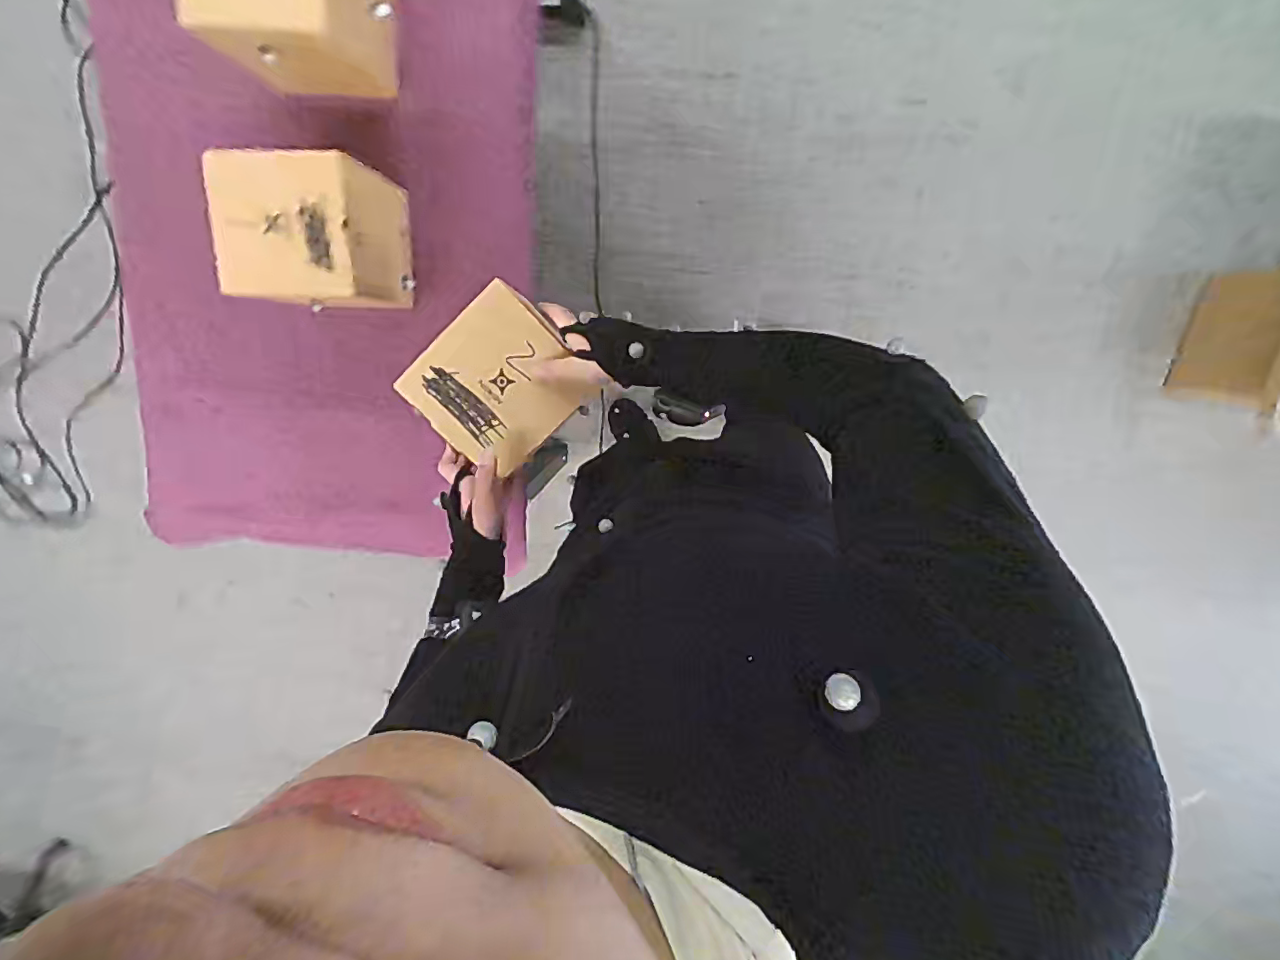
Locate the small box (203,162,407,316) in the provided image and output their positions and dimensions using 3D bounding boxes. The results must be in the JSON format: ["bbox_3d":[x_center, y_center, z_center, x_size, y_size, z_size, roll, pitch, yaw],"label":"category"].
[{"bbox_3d":[-0.438,-0.319,0.743,0.179,0.176,0.168,2,103,4],"label":"small box"}]

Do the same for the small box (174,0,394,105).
[{"bbox_3d":[-0.436,-0.599,0.678,0.179,0.176,0.168,5,104,2],"label":"small box"}]
